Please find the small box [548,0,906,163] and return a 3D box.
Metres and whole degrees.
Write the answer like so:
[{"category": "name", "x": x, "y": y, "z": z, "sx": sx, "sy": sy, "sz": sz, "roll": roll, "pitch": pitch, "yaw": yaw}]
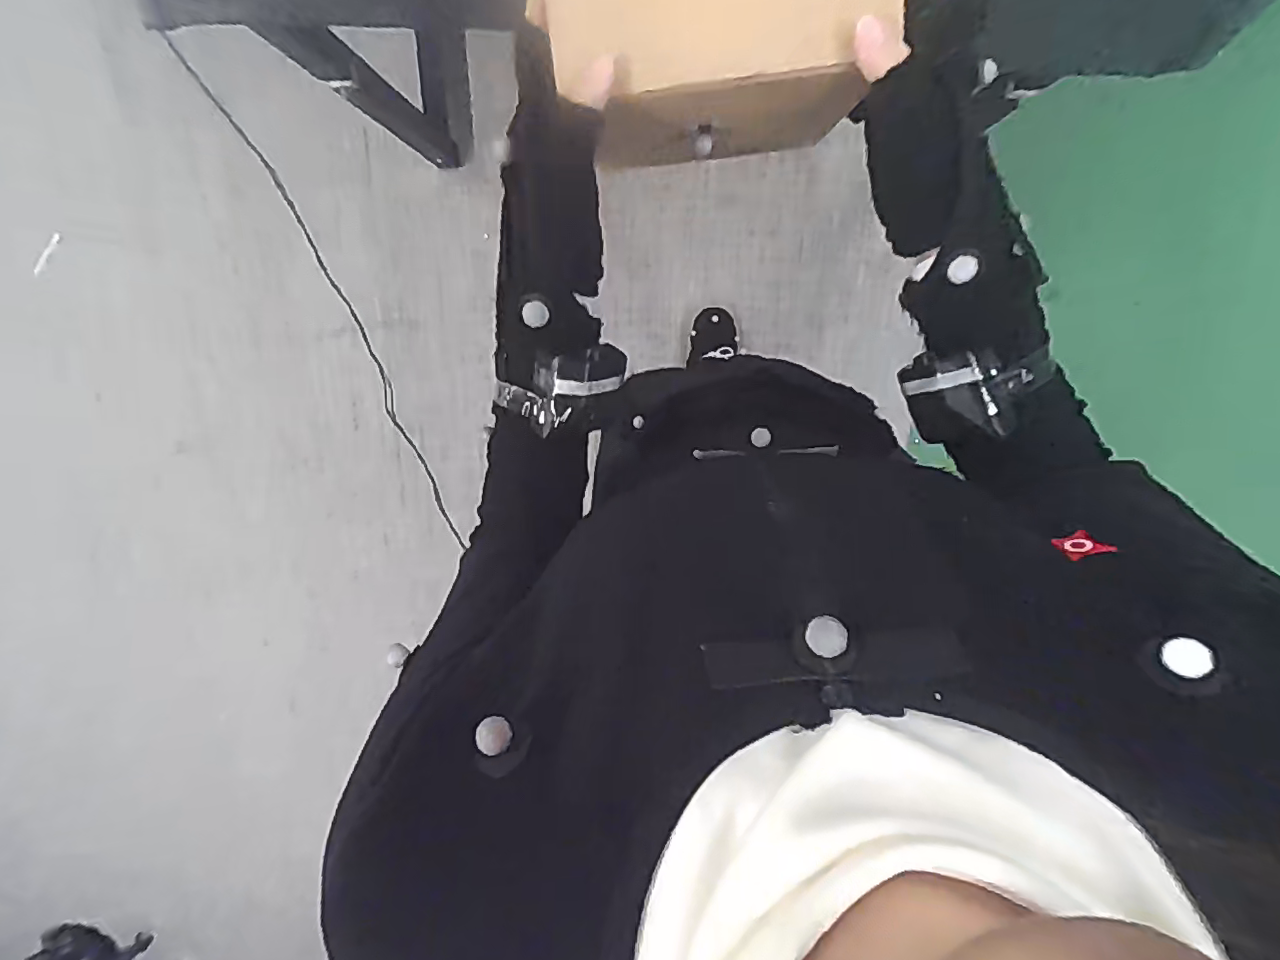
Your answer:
[{"category": "small box", "x": 0.040, "y": -0.307, "z": 0.323, "sx": 0.179, "sy": 0.176, "sz": 0.168, "roll": -5, "pitch": 108, "yaw": 5}]
